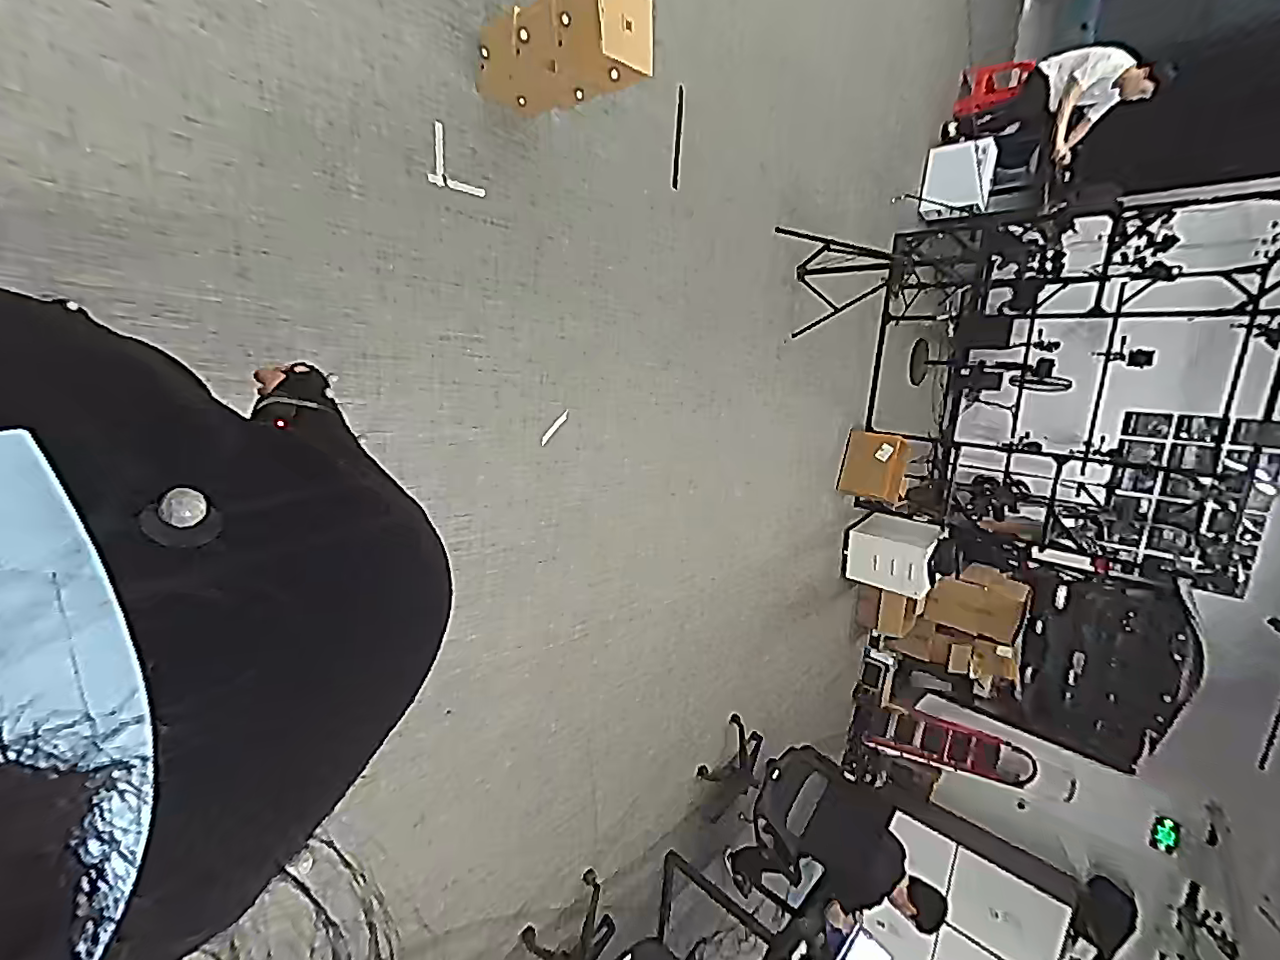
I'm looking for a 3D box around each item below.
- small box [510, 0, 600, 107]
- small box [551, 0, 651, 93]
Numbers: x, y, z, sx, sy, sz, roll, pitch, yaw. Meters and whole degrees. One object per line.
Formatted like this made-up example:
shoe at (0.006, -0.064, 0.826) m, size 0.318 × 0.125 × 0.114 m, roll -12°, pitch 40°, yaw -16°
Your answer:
small box at (-0.212, -1.111, 1.410) m, size 0.179 × 0.176 × 0.168 m, roll -1°, pitch 100°, yaw -48°
small box at (-0.093, -1.068, 1.306) m, size 0.179 × 0.176 × 0.168 m, roll -17°, pitch 113°, yaw -44°
